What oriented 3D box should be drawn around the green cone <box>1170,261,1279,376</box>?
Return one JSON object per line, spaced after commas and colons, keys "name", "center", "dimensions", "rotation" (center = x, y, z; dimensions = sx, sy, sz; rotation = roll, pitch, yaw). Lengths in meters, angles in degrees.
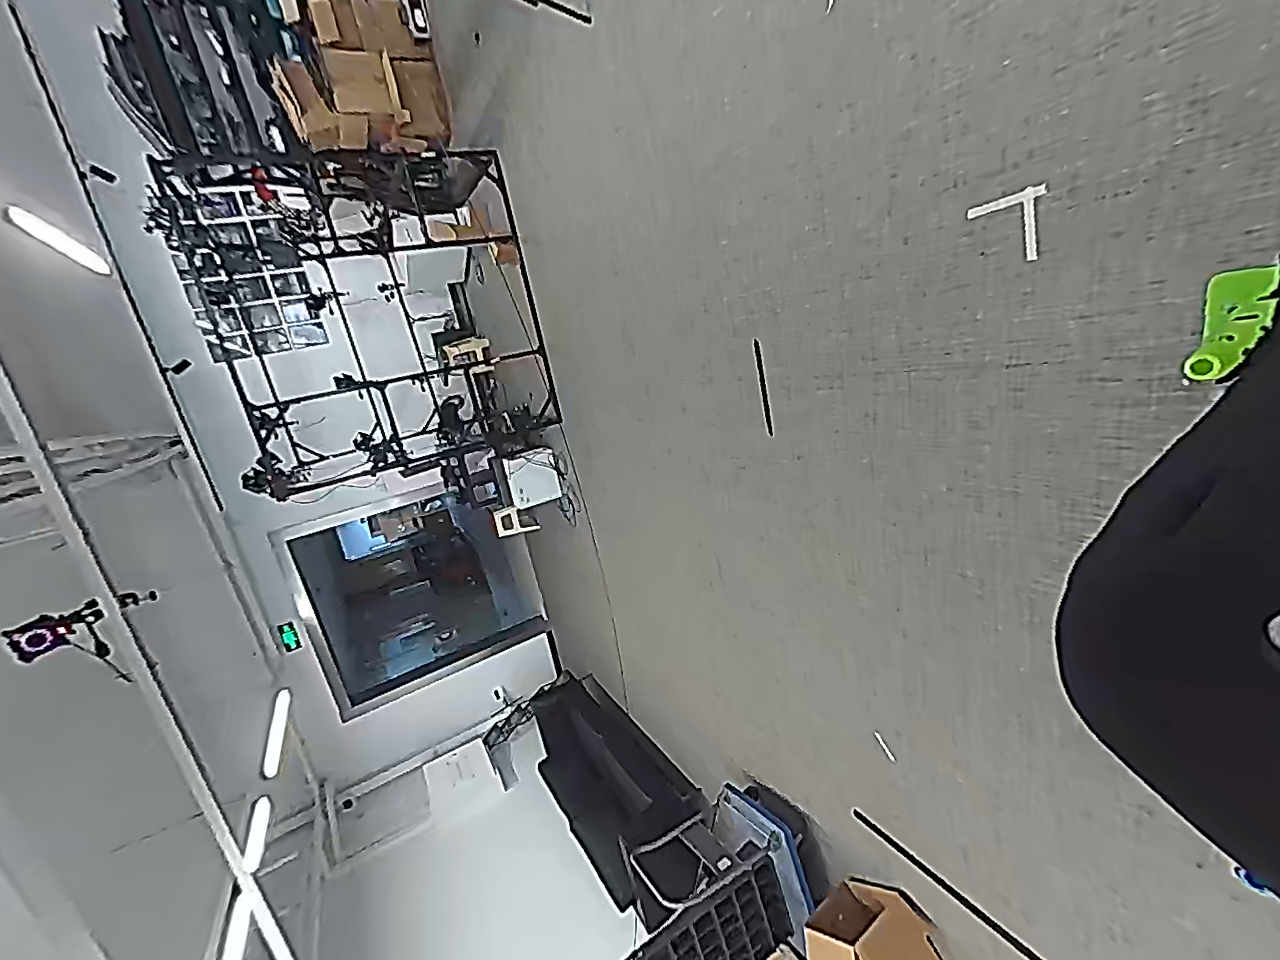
{"name": "green cone", "center": [0.981, -0.233, 0.881], "dimensions": [0.202, 0.368, 0.200], "rotation": [18, 123, 61]}
